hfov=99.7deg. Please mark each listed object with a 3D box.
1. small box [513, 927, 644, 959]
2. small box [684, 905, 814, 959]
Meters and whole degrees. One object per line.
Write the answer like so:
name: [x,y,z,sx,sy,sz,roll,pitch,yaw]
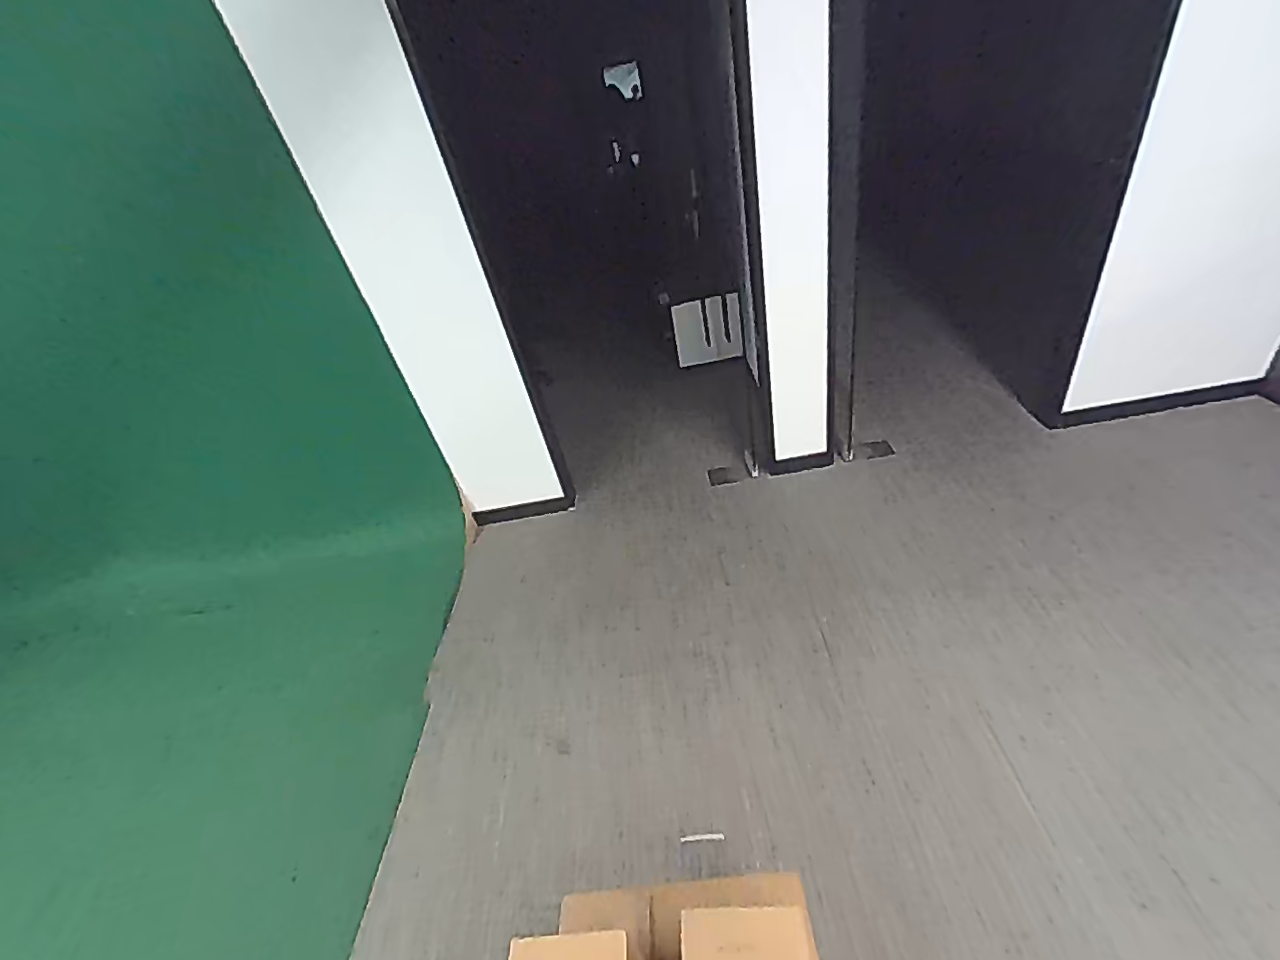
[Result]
small box: [-0.078,0.740,0.727,0.168,0.176,0.179,-10,38,5]
small box: [0.153,0.692,0.709,0.168,0.176,0.179,-9,35,10]
